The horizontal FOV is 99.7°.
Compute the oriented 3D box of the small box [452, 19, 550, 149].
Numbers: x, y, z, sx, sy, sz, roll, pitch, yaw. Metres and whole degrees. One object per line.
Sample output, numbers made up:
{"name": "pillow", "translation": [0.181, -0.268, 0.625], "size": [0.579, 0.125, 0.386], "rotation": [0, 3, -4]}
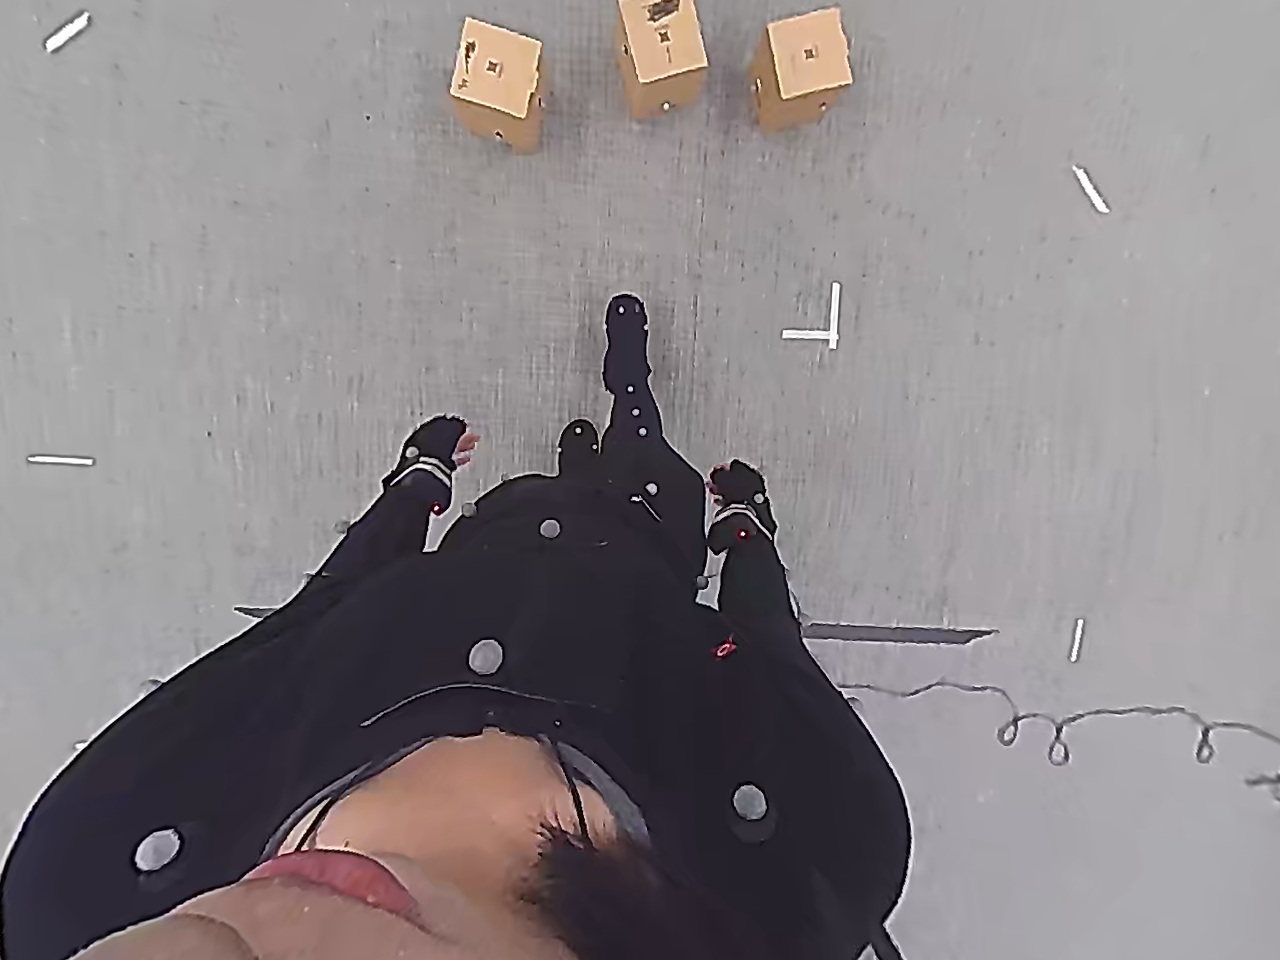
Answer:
{"name": "small box", "translation": [-0.319, -0.920, 1.277], "size": [0.179, 0.176, 0.168], "rotation": [15, 96, -6]}

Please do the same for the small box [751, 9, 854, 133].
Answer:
{"name": "small box", "translation": [0.390, -0.987, 1.319], "size": [0.179, 0.176, 0.168], "rotation": [-15, 98, -1]}

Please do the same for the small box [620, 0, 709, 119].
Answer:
{"name": "small box", "translation": [0.051, -1.010, 1.289], "size": [0.168, 0.176, 0.179], "rotation": [-16, 100, -2]}
